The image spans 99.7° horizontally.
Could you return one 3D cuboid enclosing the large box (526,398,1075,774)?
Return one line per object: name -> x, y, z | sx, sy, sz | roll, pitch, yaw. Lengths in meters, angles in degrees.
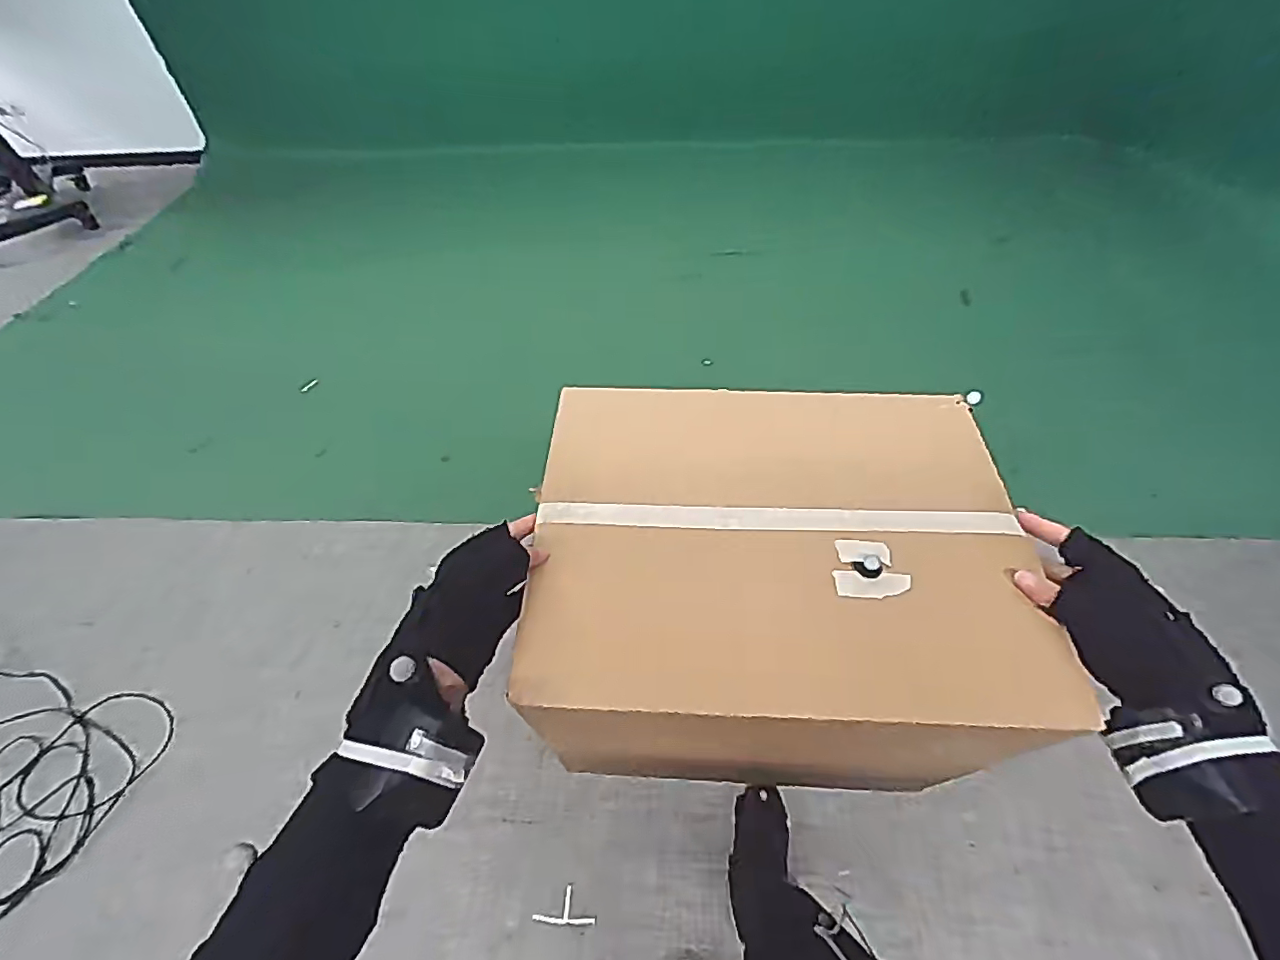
large box -> 0.118, 0.126, 0.595 | 0.408, 0.320, 0.320 | 1, 54, 2
